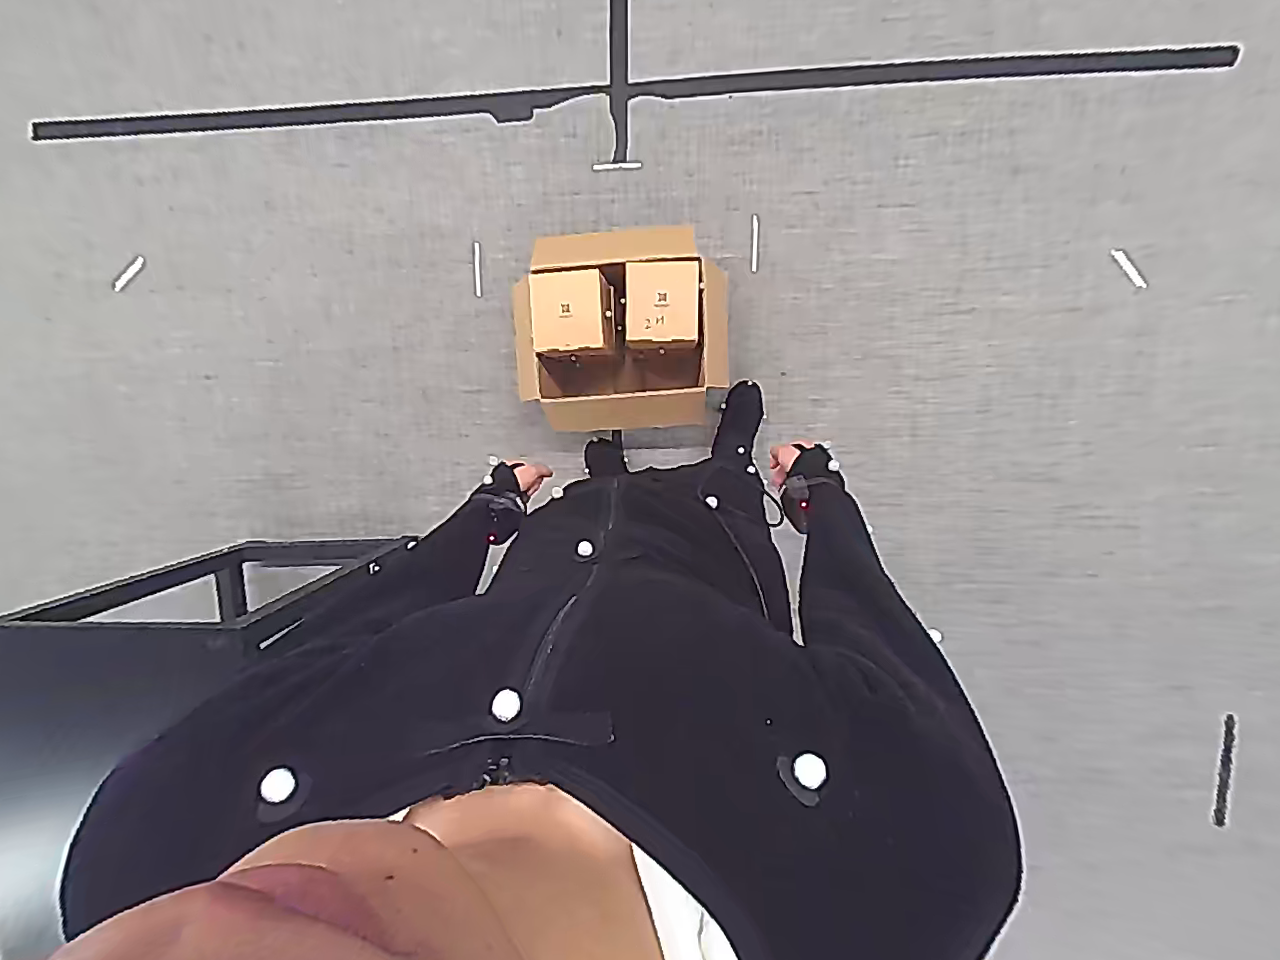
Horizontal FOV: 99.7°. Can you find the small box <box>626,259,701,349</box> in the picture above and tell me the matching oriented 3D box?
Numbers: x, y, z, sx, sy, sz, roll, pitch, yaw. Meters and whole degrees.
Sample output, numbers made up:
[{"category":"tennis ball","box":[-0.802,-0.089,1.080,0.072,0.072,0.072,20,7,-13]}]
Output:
[{"category":"small box","box":[0.056,-0.414,1.289,0.168,0.176,0.179,1,98,4]}]
